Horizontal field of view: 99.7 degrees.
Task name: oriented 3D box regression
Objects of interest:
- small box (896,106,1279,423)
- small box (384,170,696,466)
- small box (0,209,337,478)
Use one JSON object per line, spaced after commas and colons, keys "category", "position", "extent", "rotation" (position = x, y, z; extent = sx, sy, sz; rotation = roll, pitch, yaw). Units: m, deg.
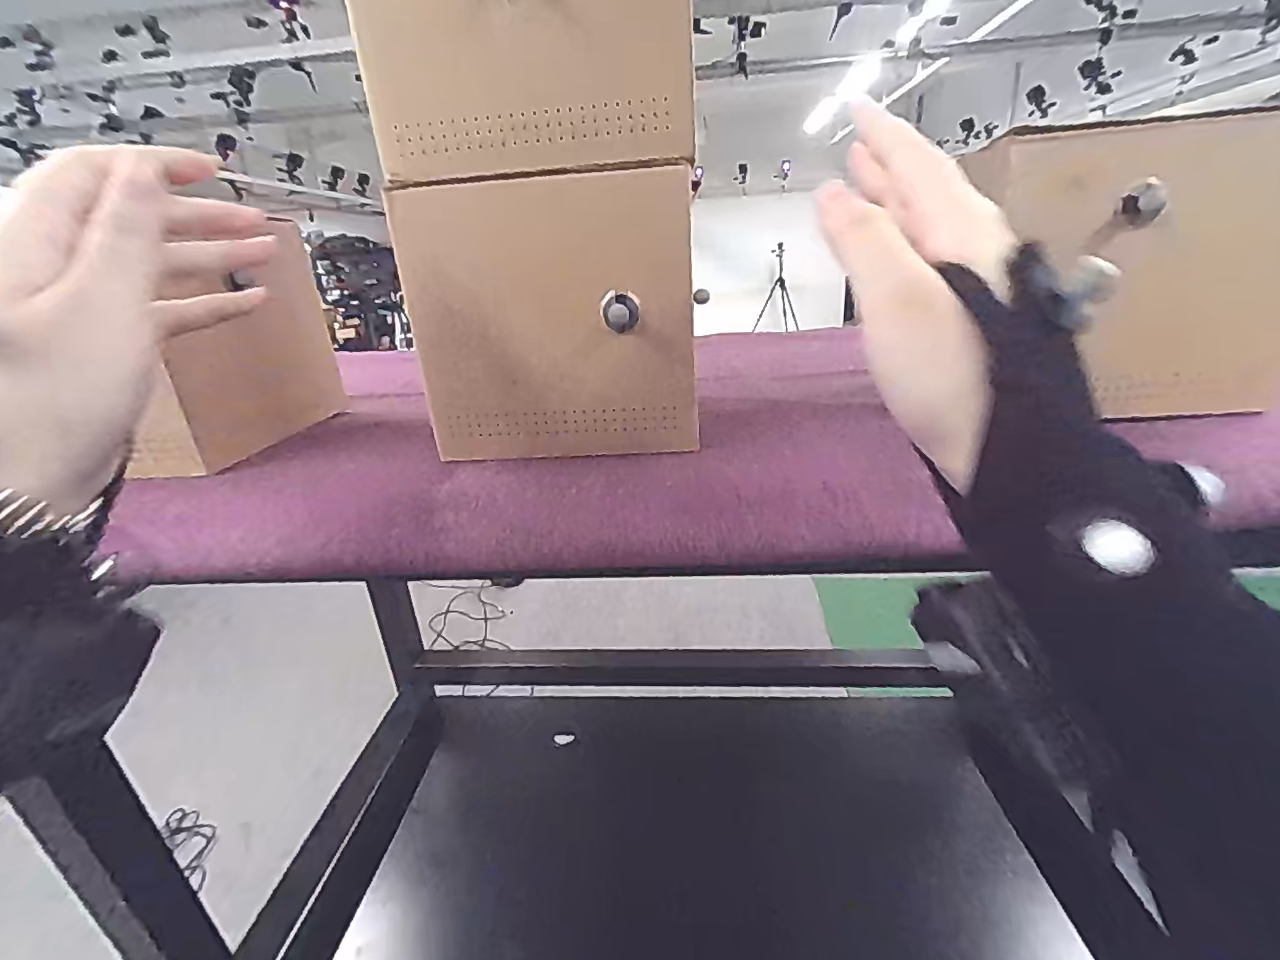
{"category": "small box", "position": [0.300, -0.140, 0.390], "extent": [0.179, 0.176, 0.168], "rotation": [-2, 20, 6]}
{"category": "small box", "position": [-0.049, -0.116, 0.400], "extent": [0.179, 0.176, 0.168], "rotation": [-3, 21, 4]}
{"category": "small box", "position": [-0.370, -0.106, 0.418], "extent": [0.168, 0.176, 0.179], "rotation": [-1, 23, 4]}
